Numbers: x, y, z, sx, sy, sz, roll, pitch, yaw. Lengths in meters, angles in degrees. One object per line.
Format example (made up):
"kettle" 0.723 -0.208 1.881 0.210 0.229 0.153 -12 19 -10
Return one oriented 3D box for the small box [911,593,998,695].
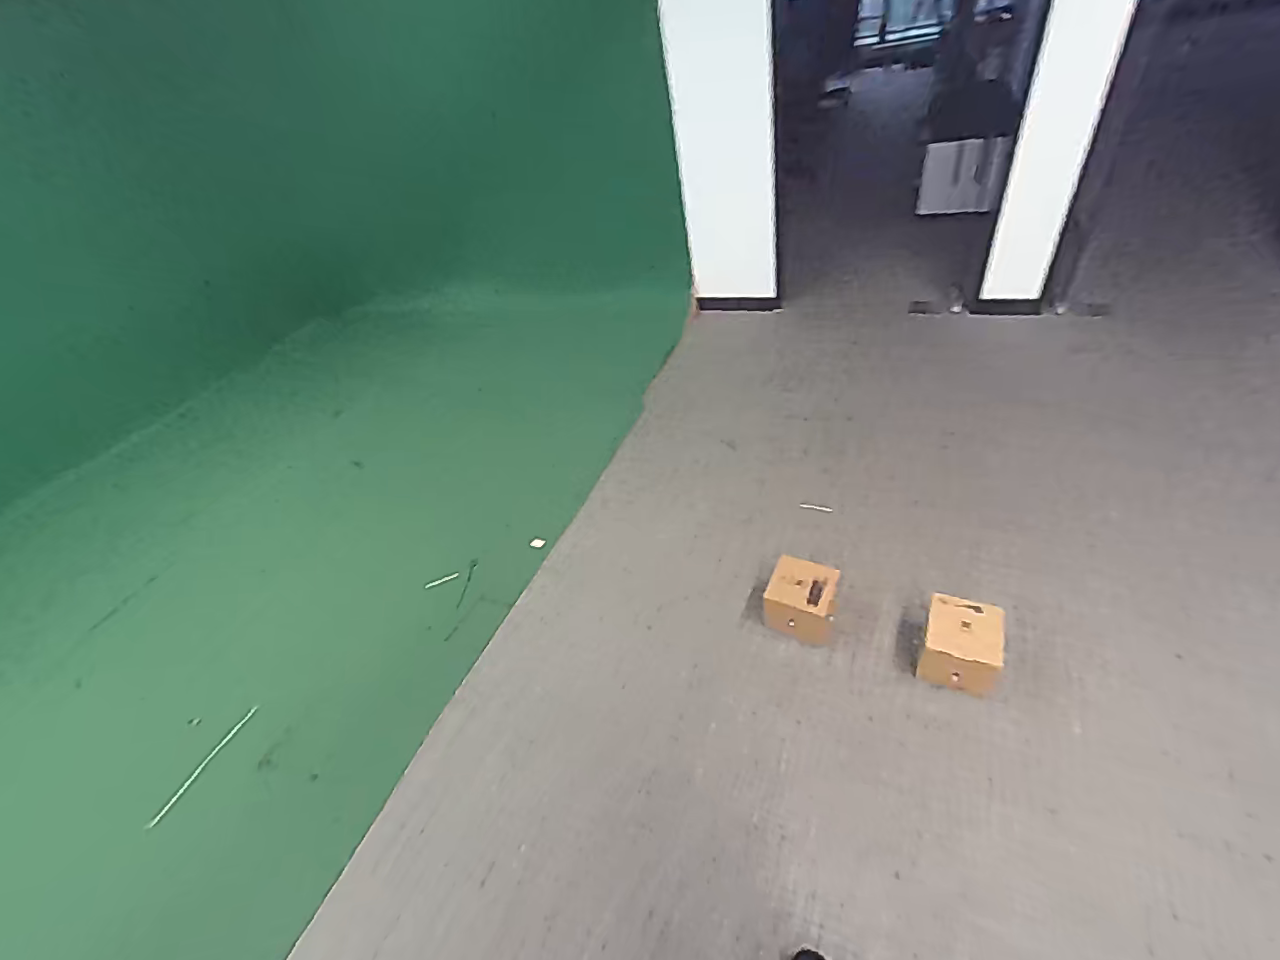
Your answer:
"small box" 0.817 0.431 1.413 0.168 0.176 0.179 12 49 25
